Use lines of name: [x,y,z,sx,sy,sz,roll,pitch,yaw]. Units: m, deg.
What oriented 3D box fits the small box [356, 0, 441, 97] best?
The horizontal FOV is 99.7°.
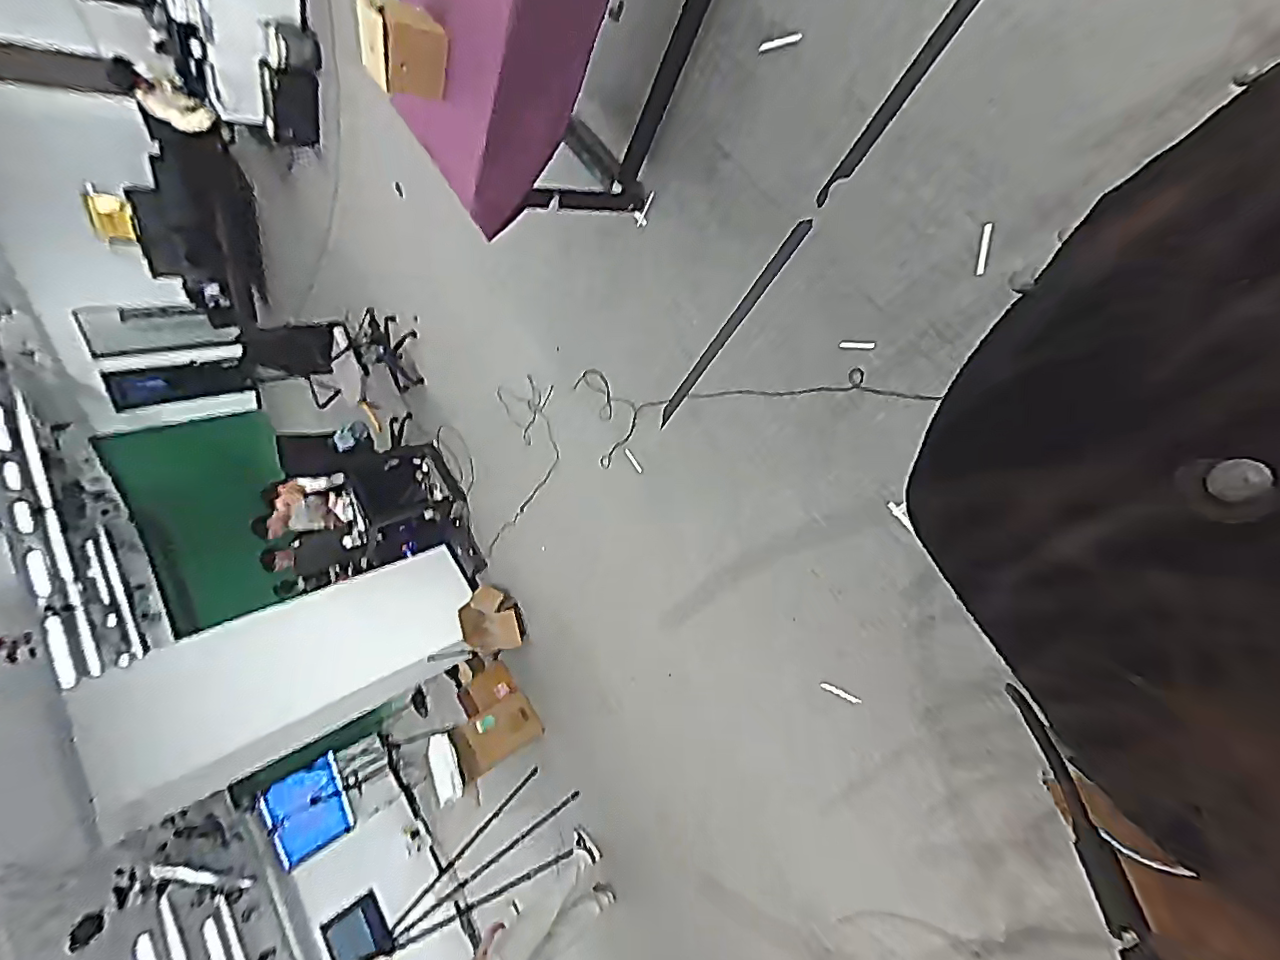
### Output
small box: [-0.682,-1.225,1.529,0.168,0.176,0.179,52,138,18]
